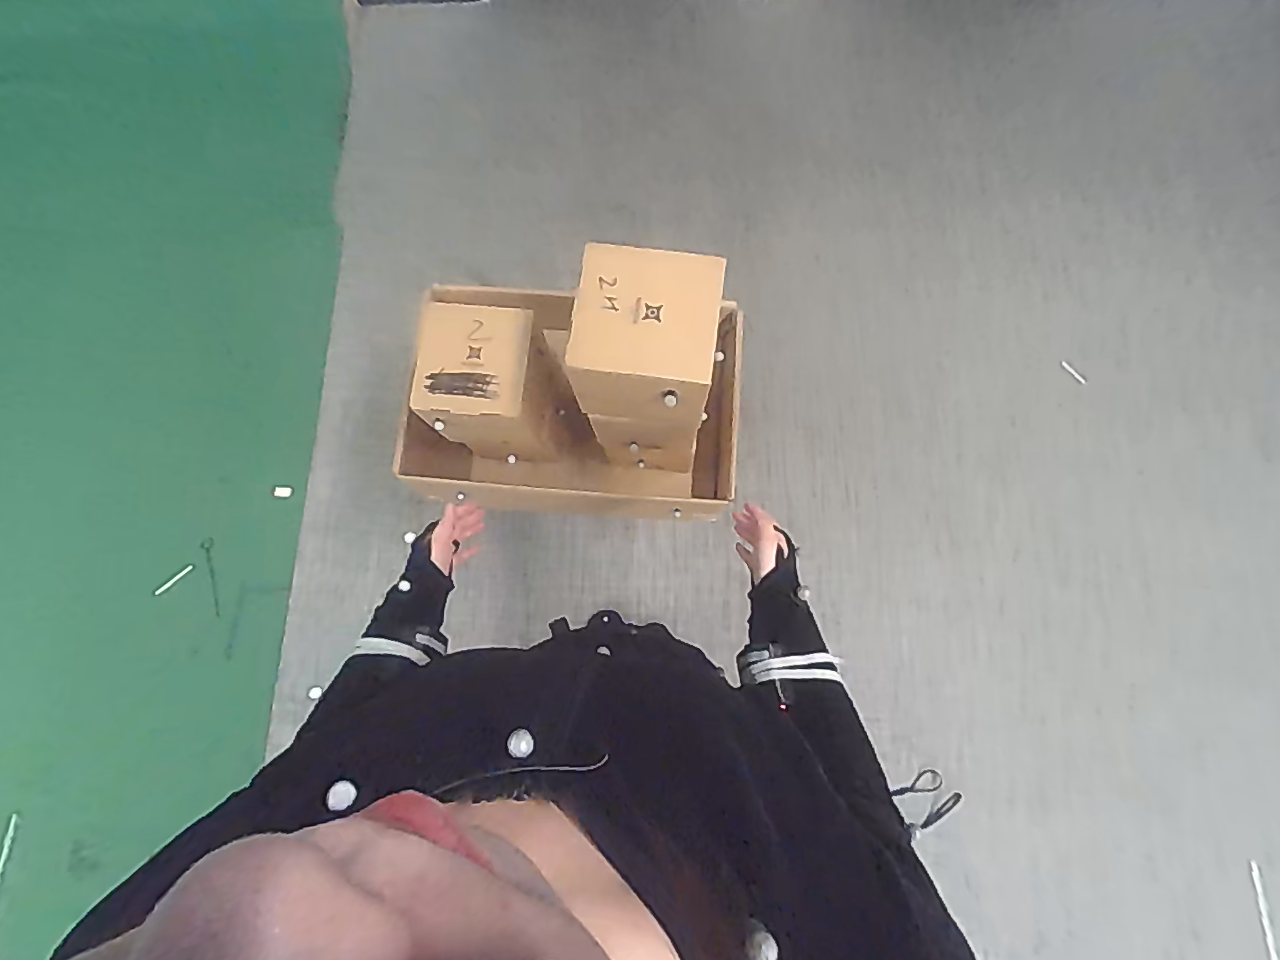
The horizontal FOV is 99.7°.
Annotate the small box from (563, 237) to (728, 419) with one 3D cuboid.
[{"bbox_3d":[0.011,-0.189,0.716,0.179,0.176,0.168,8,79,5],"label":"small box"}]

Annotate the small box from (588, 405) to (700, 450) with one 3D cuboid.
[{"bbox_3d":[0.017,-0.160,0.879,0.168,0.176,0.179,7,79,4],"label":"small box"}]
